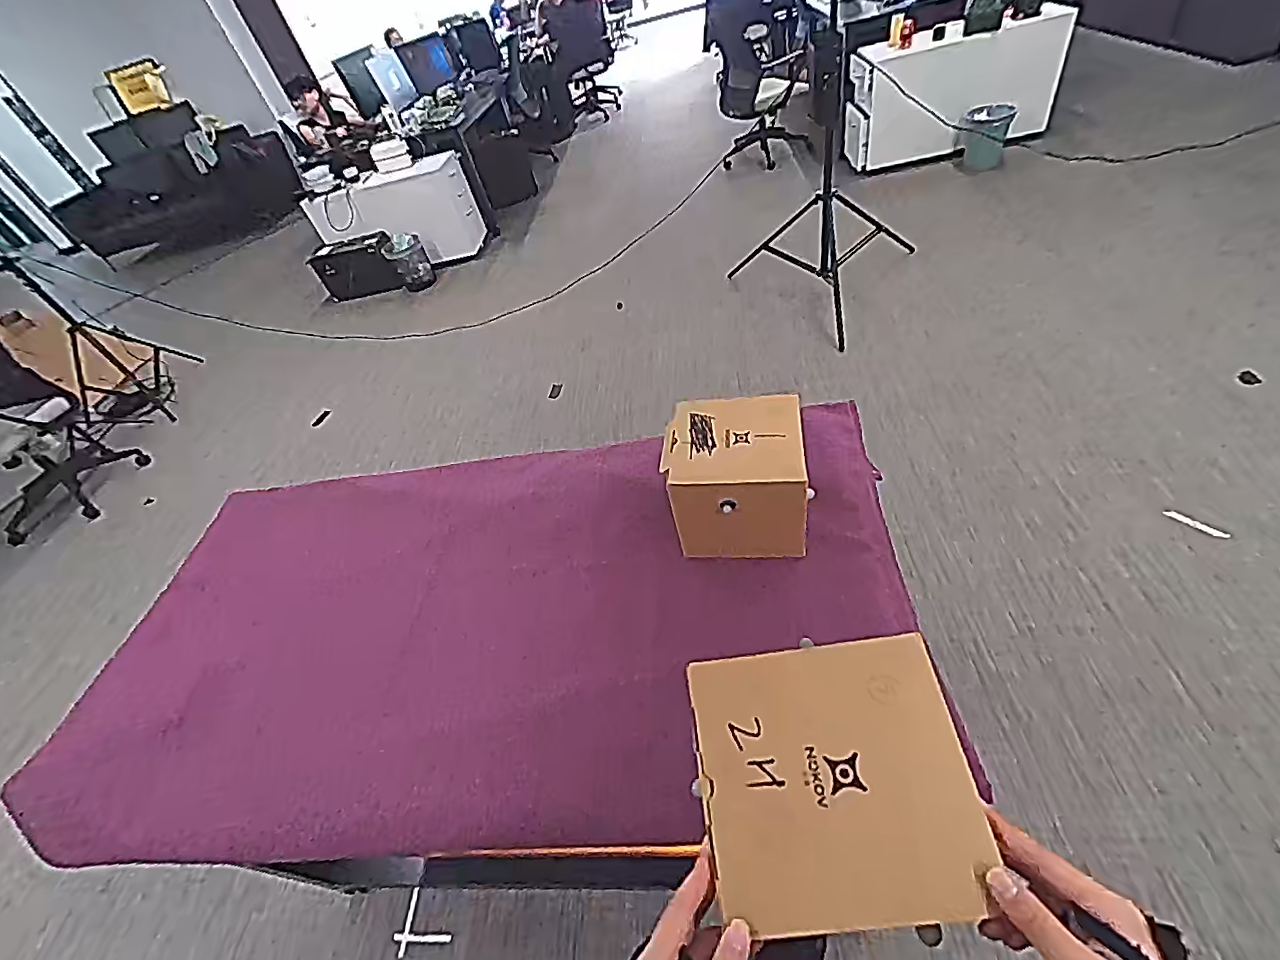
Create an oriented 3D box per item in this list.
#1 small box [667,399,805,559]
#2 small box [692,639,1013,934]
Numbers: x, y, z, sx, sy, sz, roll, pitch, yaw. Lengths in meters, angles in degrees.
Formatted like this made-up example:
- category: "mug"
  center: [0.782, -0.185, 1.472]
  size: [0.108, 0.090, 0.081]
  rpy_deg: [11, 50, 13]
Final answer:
- category: "small box"
  center: [0.145, 0.003, 0.787]
  size: [0.179, 0.176, 0.168]
  rpy_deg: [-2, 48, 13]
- category: "small box"
  center: [0.143, 0.237, 0.434]
  size: [0.179, 0.176, 0.168]
  rpy_deg: [-10, 59, 6]
